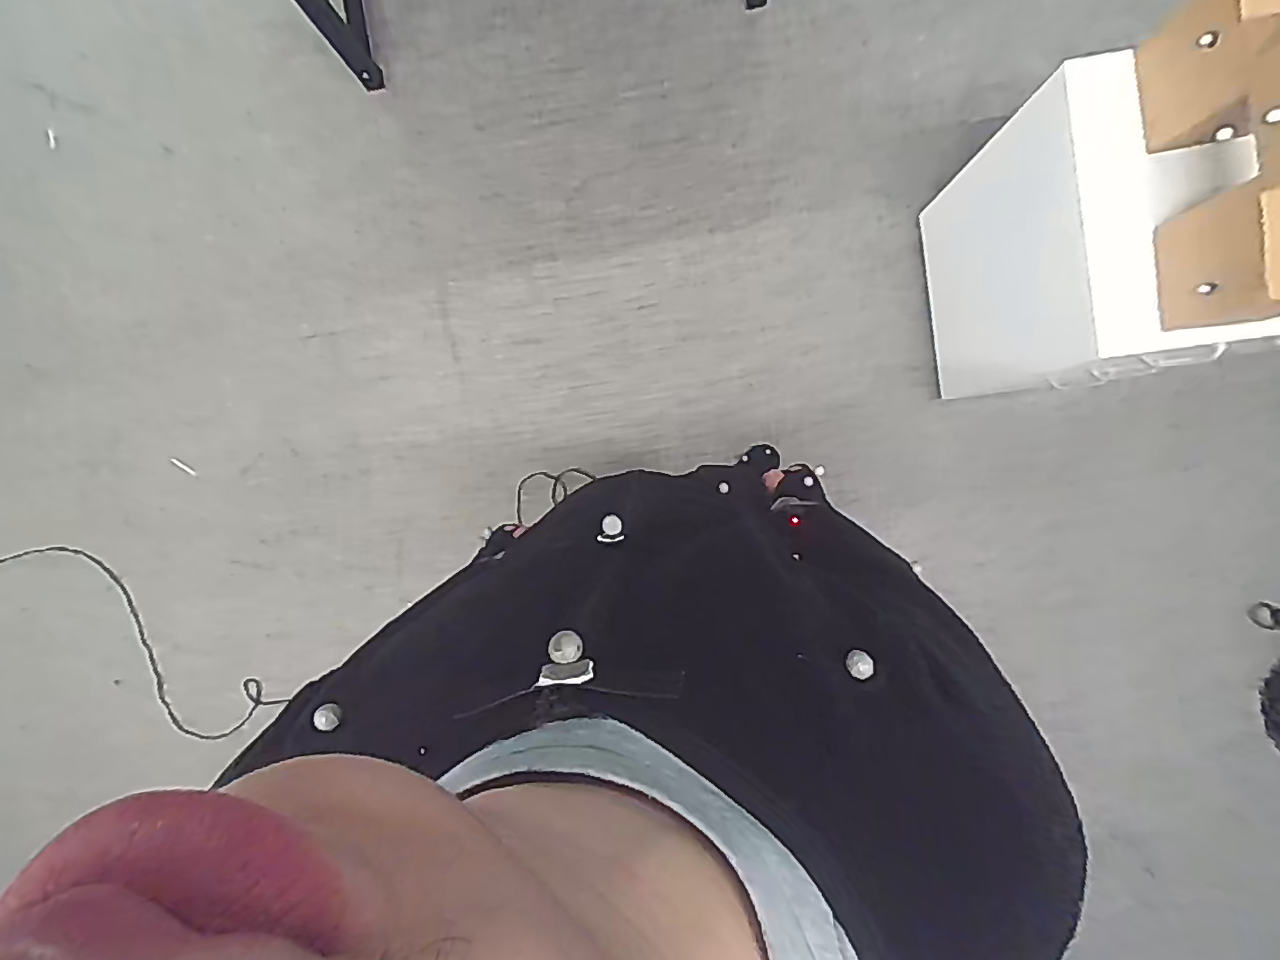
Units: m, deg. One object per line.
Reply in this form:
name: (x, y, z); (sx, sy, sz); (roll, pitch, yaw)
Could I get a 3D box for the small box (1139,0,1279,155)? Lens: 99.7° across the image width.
small box: (0.903, -0.630, 0.809); (0.168, 0.176, 0.179); (-9, 92, 4)

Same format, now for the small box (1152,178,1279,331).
small box: (0.934, -0.333, 0.815); (0.168, 0.176, 0.179); (-6, 89, 3)

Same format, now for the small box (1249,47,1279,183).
small box: (0.909, -0.482, 0.650); (0.168, 0.176, 0.179); (-9, 92, 4)
